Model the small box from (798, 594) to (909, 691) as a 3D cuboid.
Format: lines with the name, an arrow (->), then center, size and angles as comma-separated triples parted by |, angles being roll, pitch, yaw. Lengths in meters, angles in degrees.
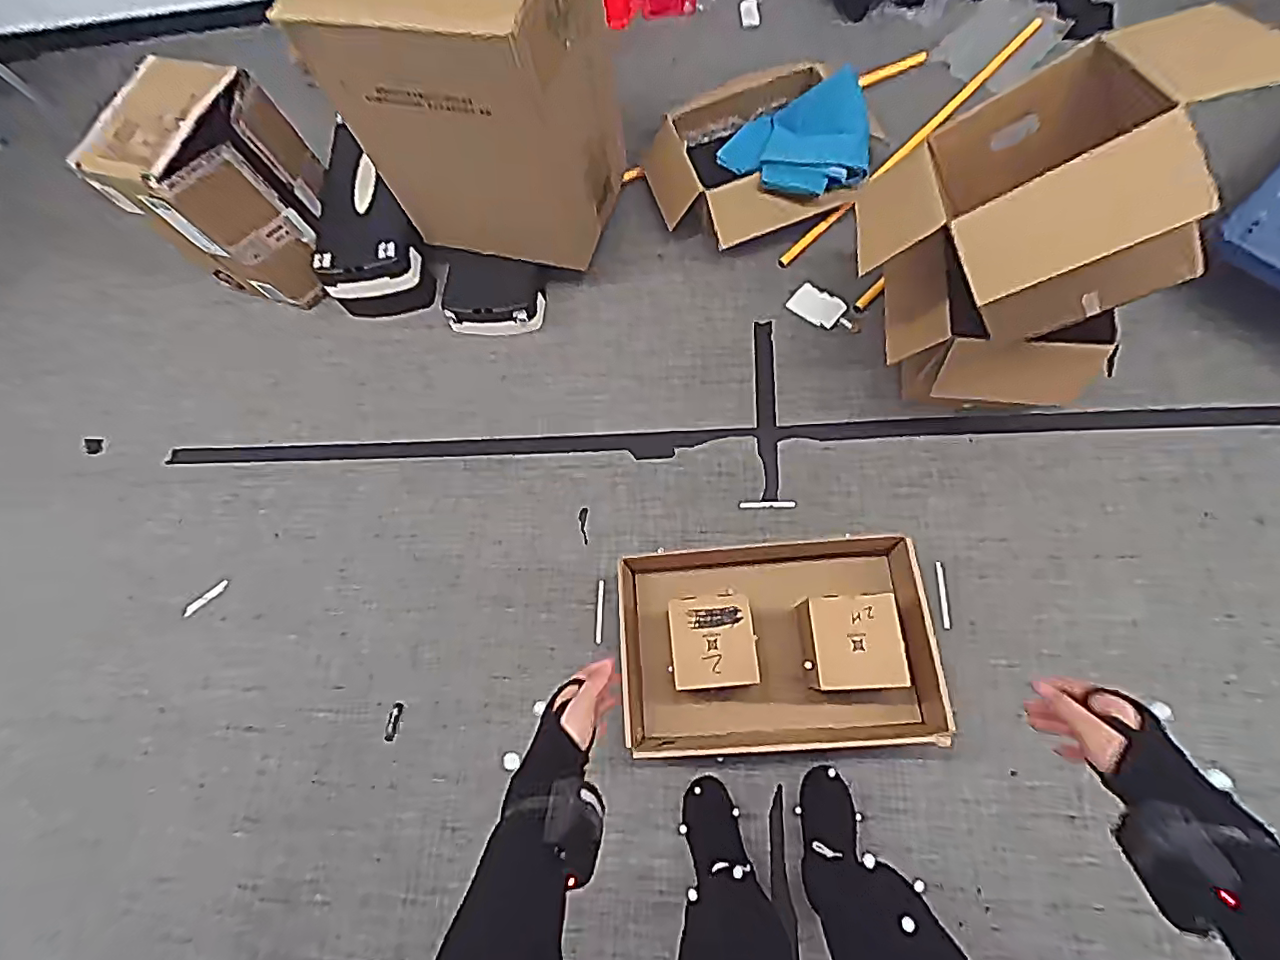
small box -> 0.428, 0.334, 1.111 | 0.168, 0.176, 0.179 | -4, 70, 6
